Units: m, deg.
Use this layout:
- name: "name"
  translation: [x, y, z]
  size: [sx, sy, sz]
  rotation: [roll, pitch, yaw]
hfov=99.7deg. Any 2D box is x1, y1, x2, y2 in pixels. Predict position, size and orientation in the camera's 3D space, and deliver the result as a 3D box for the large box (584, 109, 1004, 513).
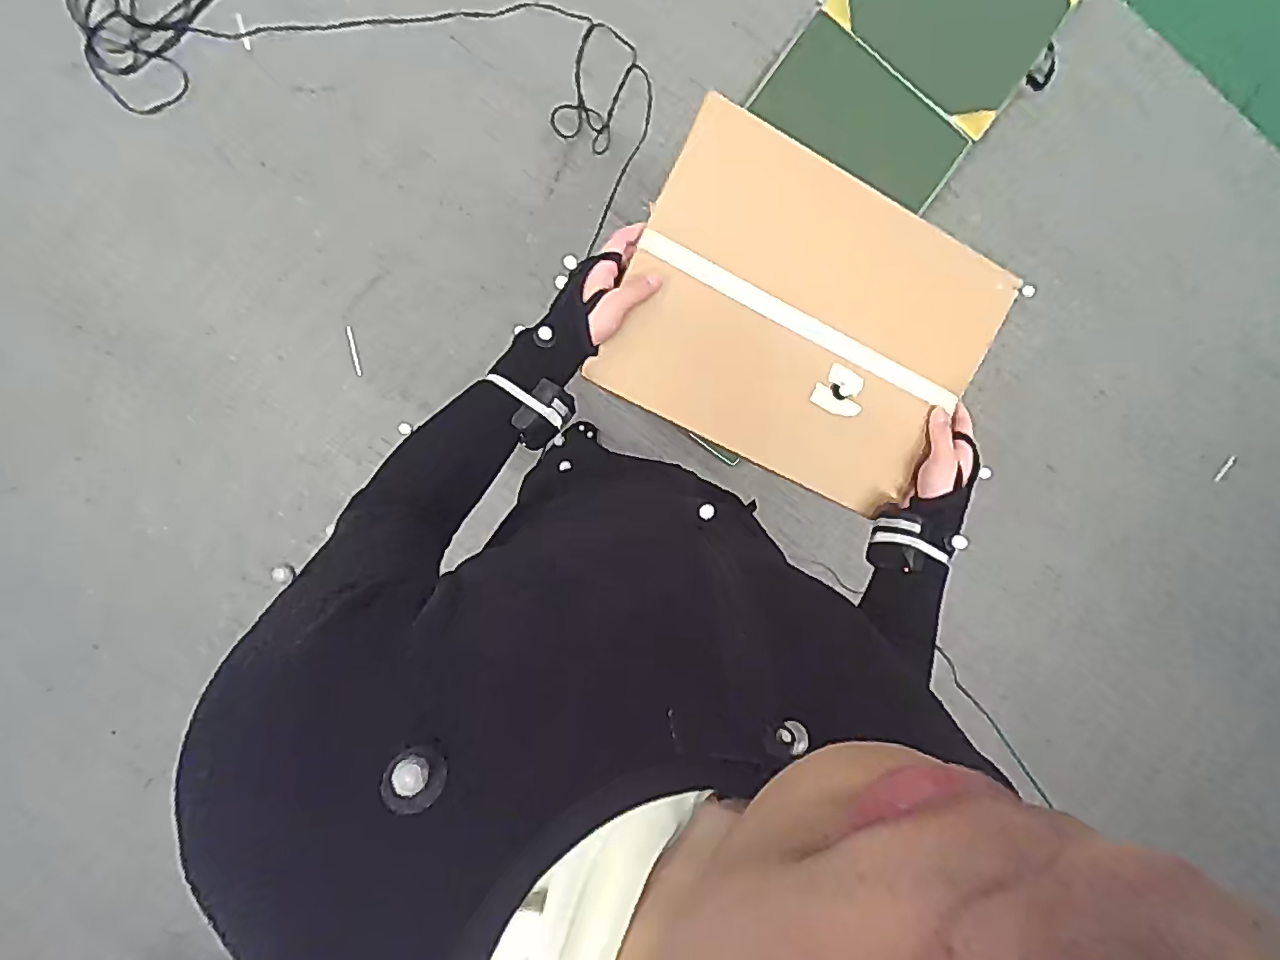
- name: "large box"
  translation: [0.162, -0.197, 0.750]
  size: [0.408, 0.320, 0.320]
  rotation: [24, 98, -10]
